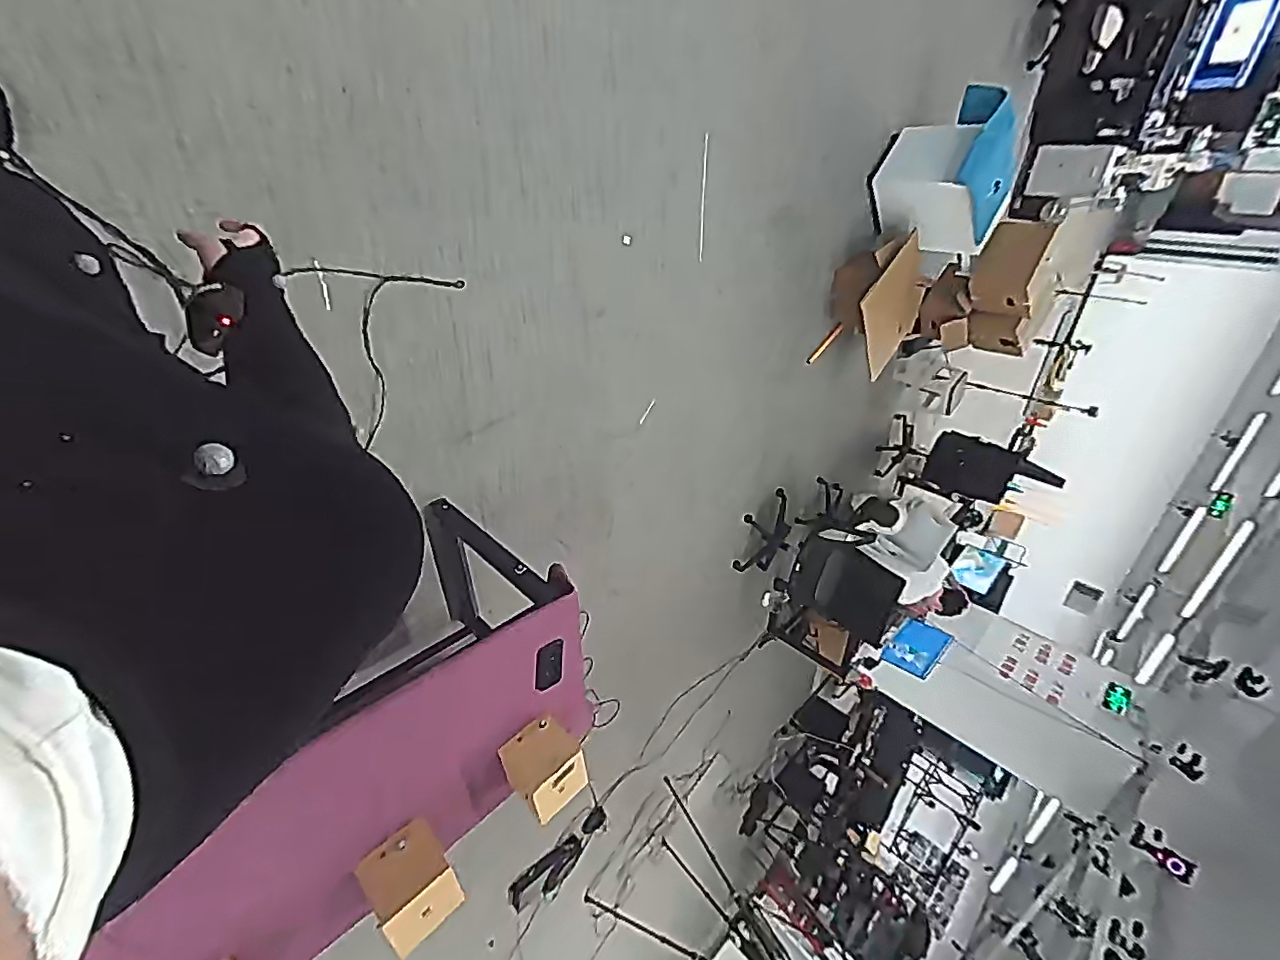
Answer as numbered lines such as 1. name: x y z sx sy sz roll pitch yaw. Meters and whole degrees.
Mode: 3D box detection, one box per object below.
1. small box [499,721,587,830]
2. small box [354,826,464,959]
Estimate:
1. small box: -0.268 0.803 1.493 0.168 0.176 0.179 -30 132 -34
2. small box: -0.543 0.969 1.275 0.168 0.176 0.179 -28 130 -38
